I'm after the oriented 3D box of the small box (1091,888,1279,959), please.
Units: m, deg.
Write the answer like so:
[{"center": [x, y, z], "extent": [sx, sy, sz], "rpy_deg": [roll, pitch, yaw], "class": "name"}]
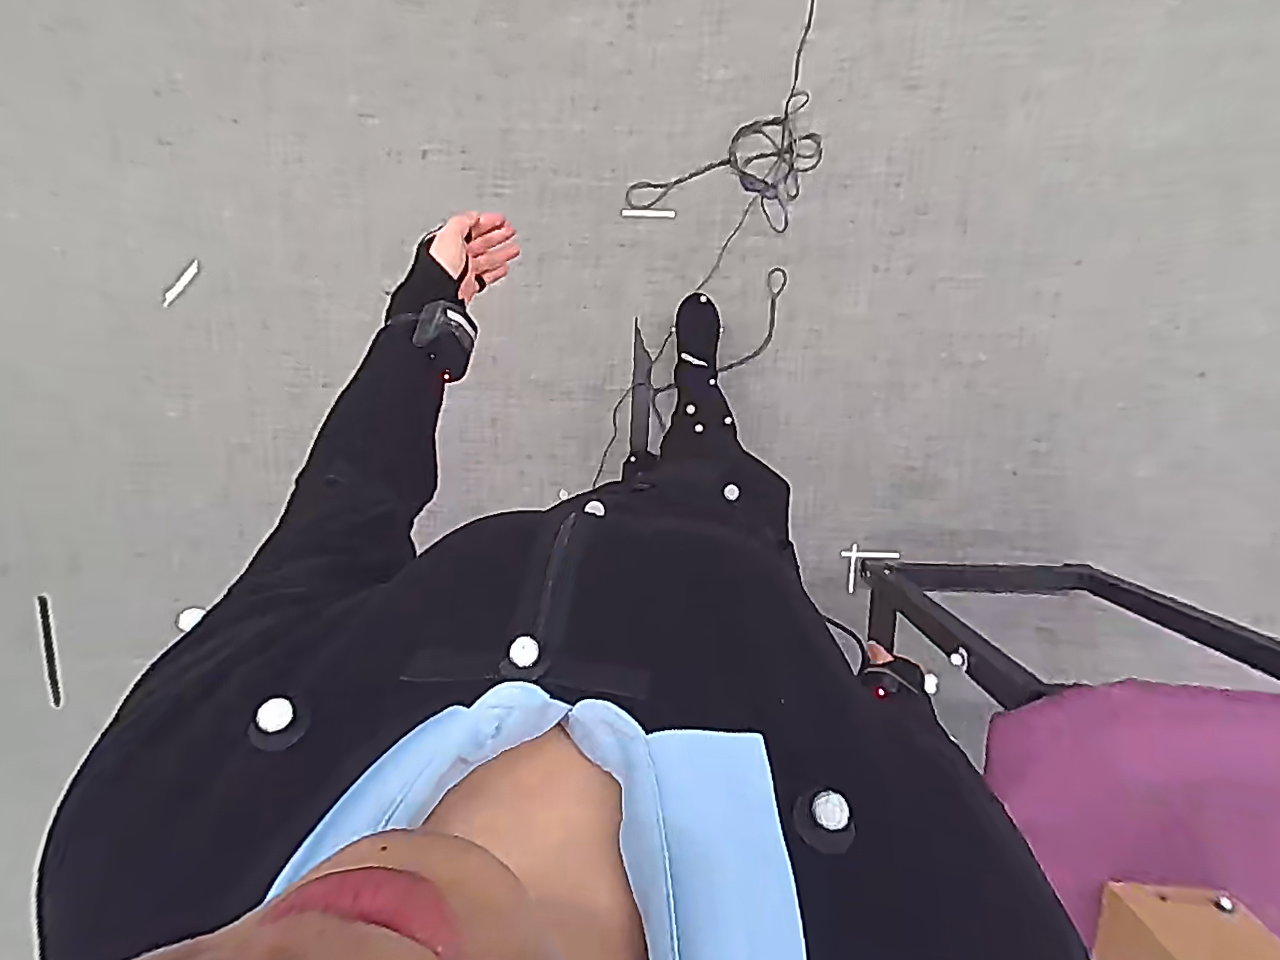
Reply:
[{"center": [0.732, 0.675, 0.697], "extent": [0.168, 0.176, 0.179], "rpy_deg": [3, 98, 4], "class": "small box"}]
